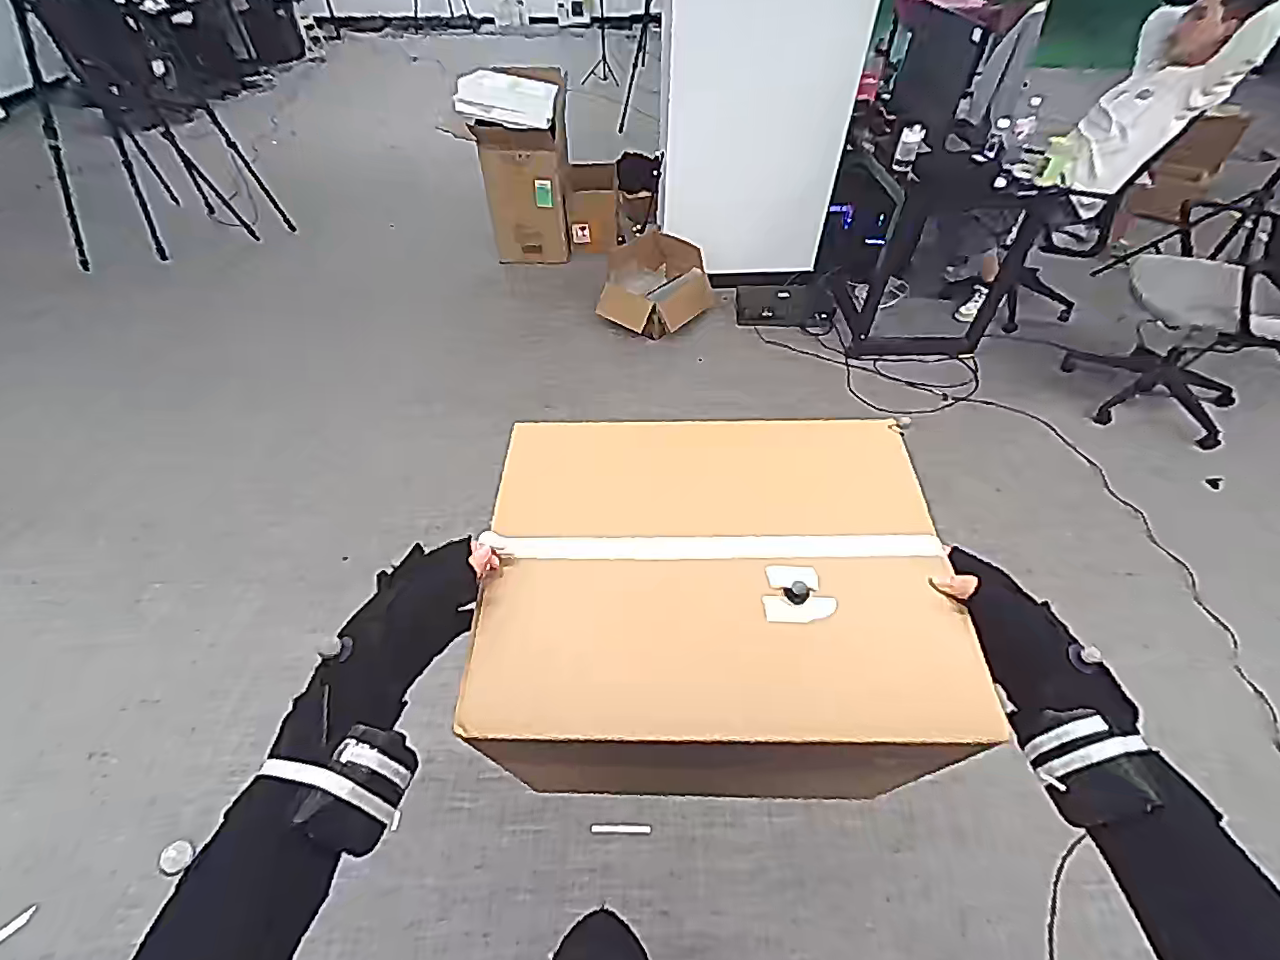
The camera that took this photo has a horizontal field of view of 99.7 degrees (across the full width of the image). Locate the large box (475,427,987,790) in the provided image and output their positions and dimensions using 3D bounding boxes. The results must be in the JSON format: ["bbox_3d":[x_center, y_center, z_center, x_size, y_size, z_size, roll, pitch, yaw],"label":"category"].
[{"bbox_3d":[0.070,0.157,0.620,0.408,0.320,0.320,0,54,2],"label":"large box"}]
